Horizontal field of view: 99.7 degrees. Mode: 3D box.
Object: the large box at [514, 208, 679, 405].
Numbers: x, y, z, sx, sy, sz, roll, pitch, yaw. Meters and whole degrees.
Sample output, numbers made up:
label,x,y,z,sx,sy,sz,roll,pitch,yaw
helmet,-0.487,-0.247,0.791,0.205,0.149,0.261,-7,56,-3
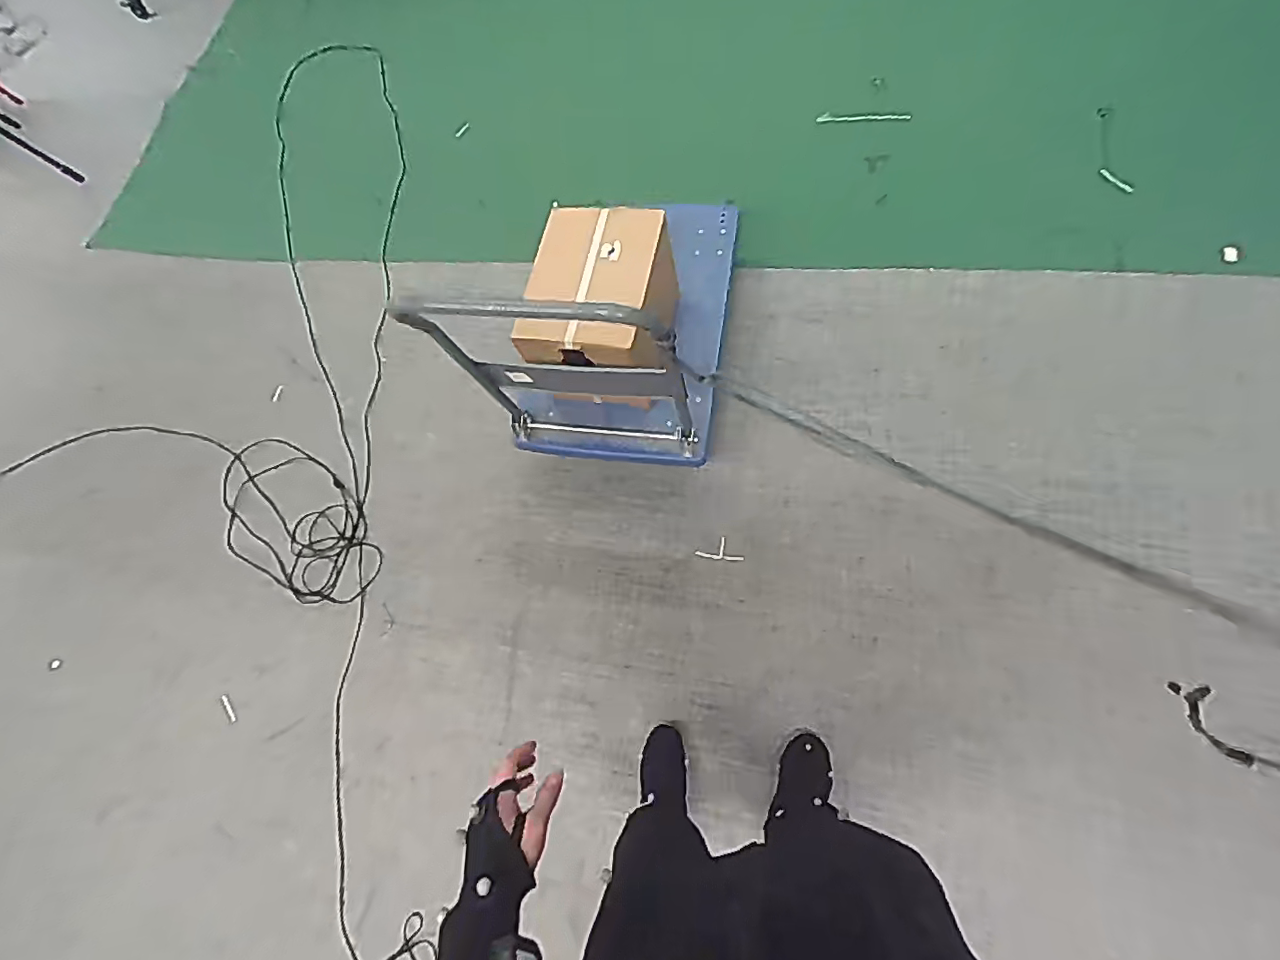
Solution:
label,x,y,z,sx,sy,sz,roll,pitch,yaw
large box,-0.095,-0.454,1.460,0.320,0.320,0.408,9,73,13
